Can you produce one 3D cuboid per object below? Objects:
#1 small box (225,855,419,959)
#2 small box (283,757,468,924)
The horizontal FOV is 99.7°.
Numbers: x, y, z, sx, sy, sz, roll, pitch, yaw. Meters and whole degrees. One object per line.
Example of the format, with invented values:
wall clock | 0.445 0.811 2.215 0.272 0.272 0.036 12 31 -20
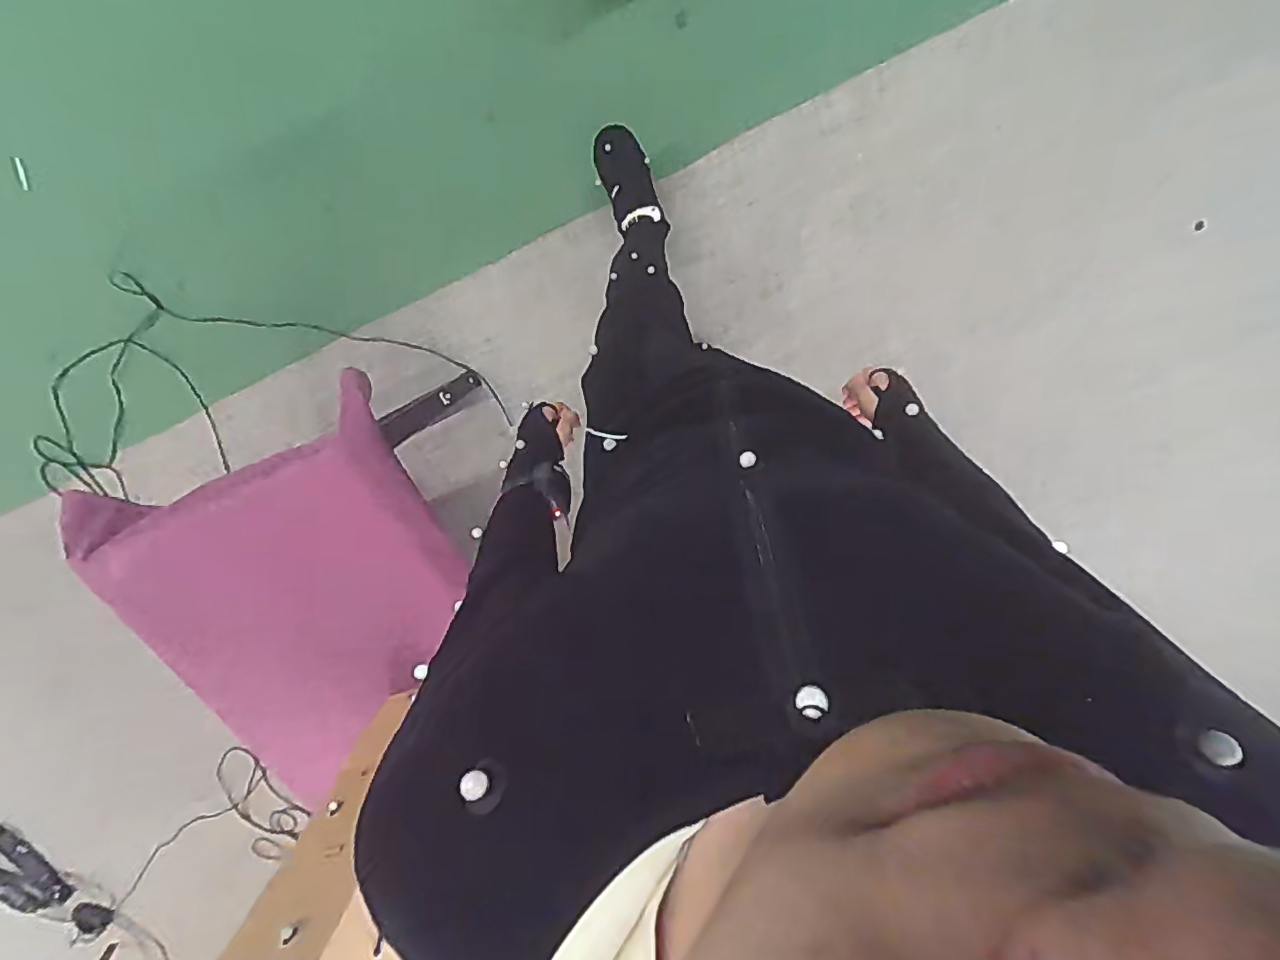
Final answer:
small box | -0.419 0.632 0.710 0.179 0.176 0.168 -18 109 10
small box | -0.404 0.571 0.860 0.168 0.176 0.179 -18 109 10
